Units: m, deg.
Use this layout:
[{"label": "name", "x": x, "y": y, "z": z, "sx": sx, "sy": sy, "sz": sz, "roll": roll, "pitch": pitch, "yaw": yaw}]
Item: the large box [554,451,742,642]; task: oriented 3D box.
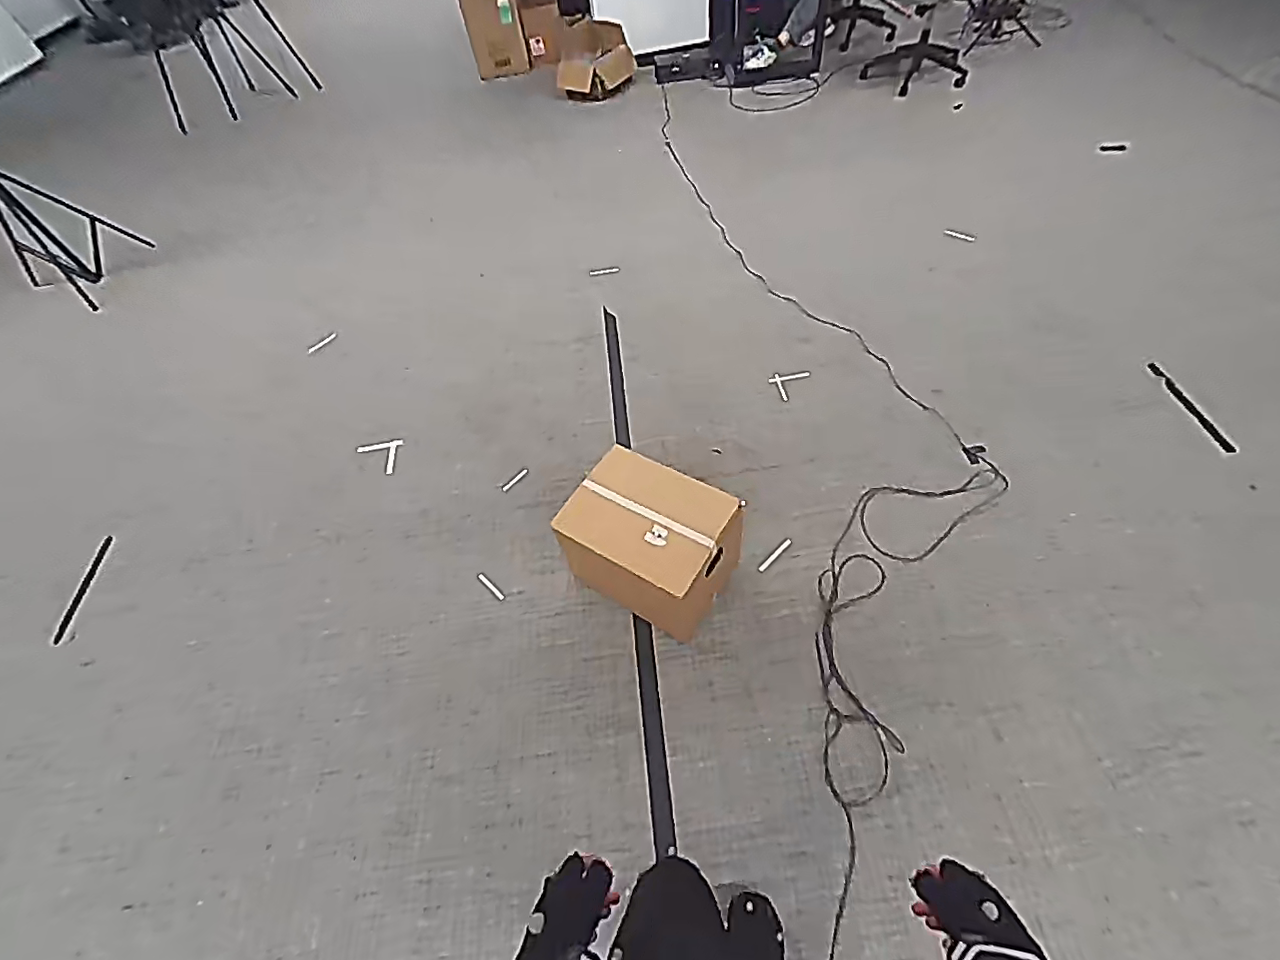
[{"label": "large box", "x": 0.030, "y": 0.184, "z": 1.517, "sx": 0.408, "sy": 0.320, "sz": 0.320, "roll": 25, "pitch": 61, "yaw": 23}]
